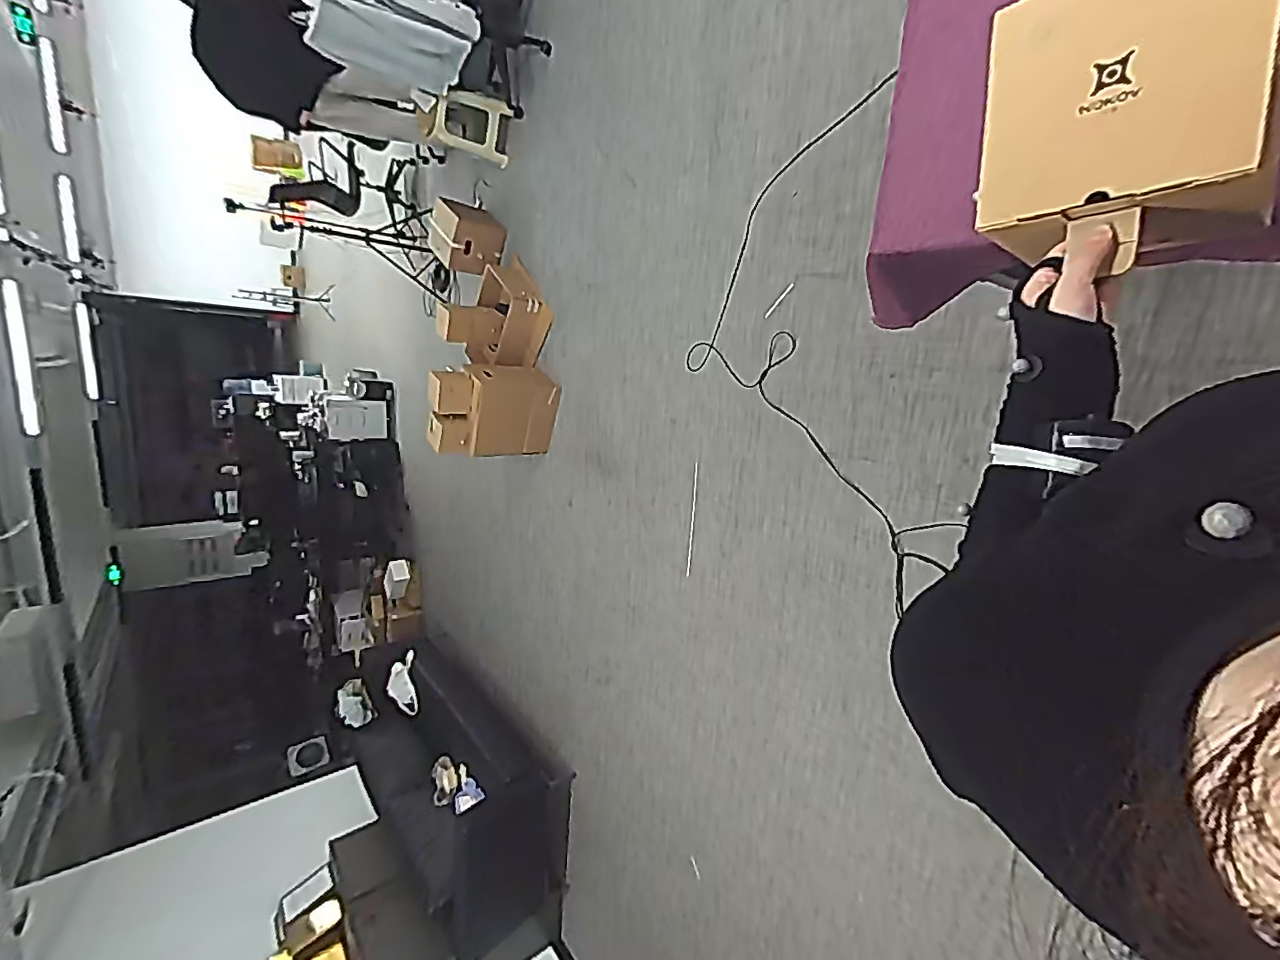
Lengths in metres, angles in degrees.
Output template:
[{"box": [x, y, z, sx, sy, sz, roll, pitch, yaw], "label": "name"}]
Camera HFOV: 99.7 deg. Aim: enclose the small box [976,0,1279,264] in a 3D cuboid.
[{"box": [0.418, -0.305, 0.468, 0.168, 0.176, 0.179, 9, 101, 49], "label": "small box"}]
